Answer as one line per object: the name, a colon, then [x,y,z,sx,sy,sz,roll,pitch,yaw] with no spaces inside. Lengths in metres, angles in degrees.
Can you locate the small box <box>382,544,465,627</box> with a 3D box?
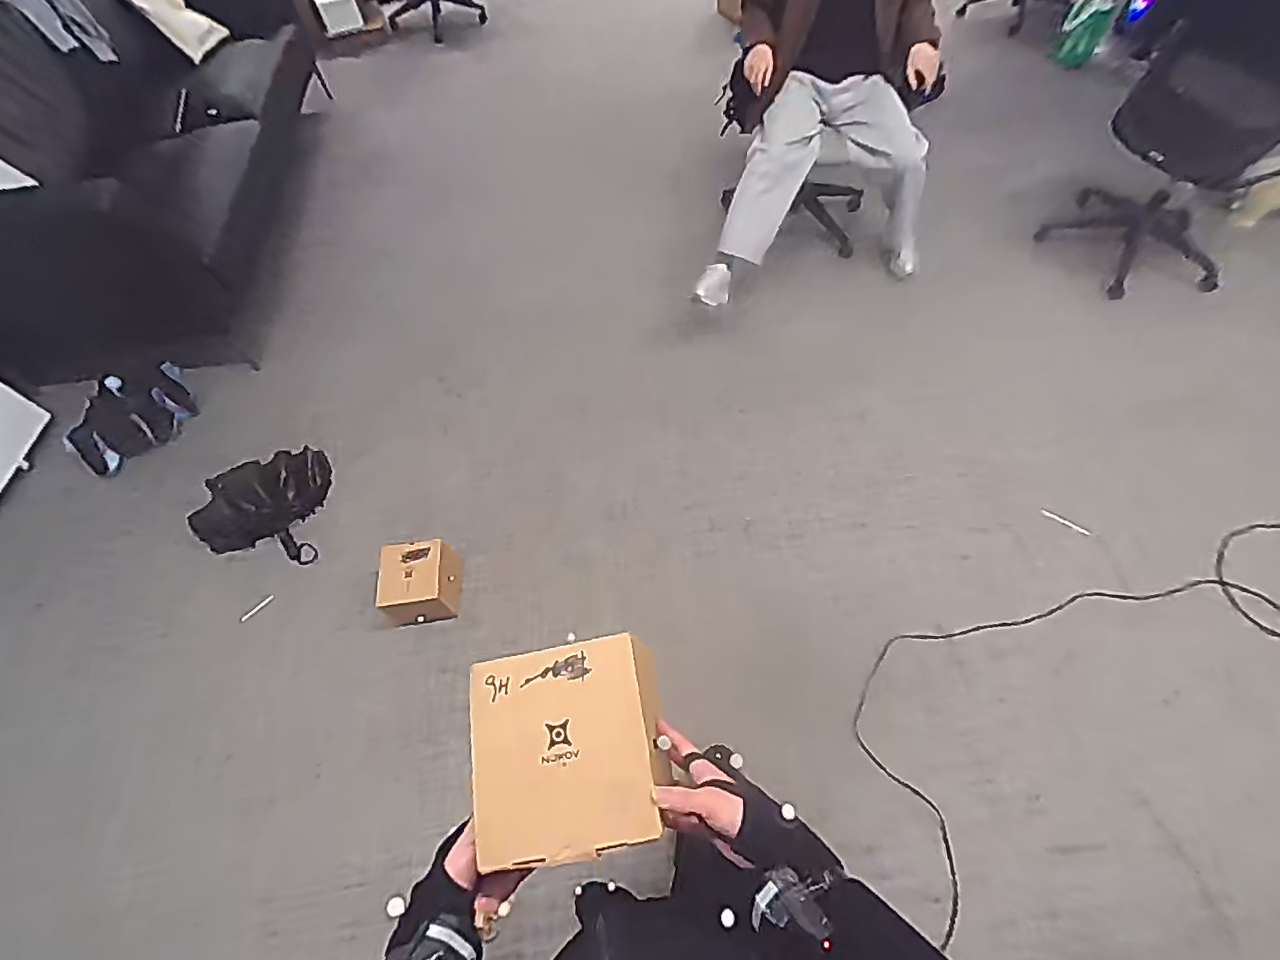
small box: [-0.608,0.303,1.540,0.168,0.176,0.179,-8,60,-1]
